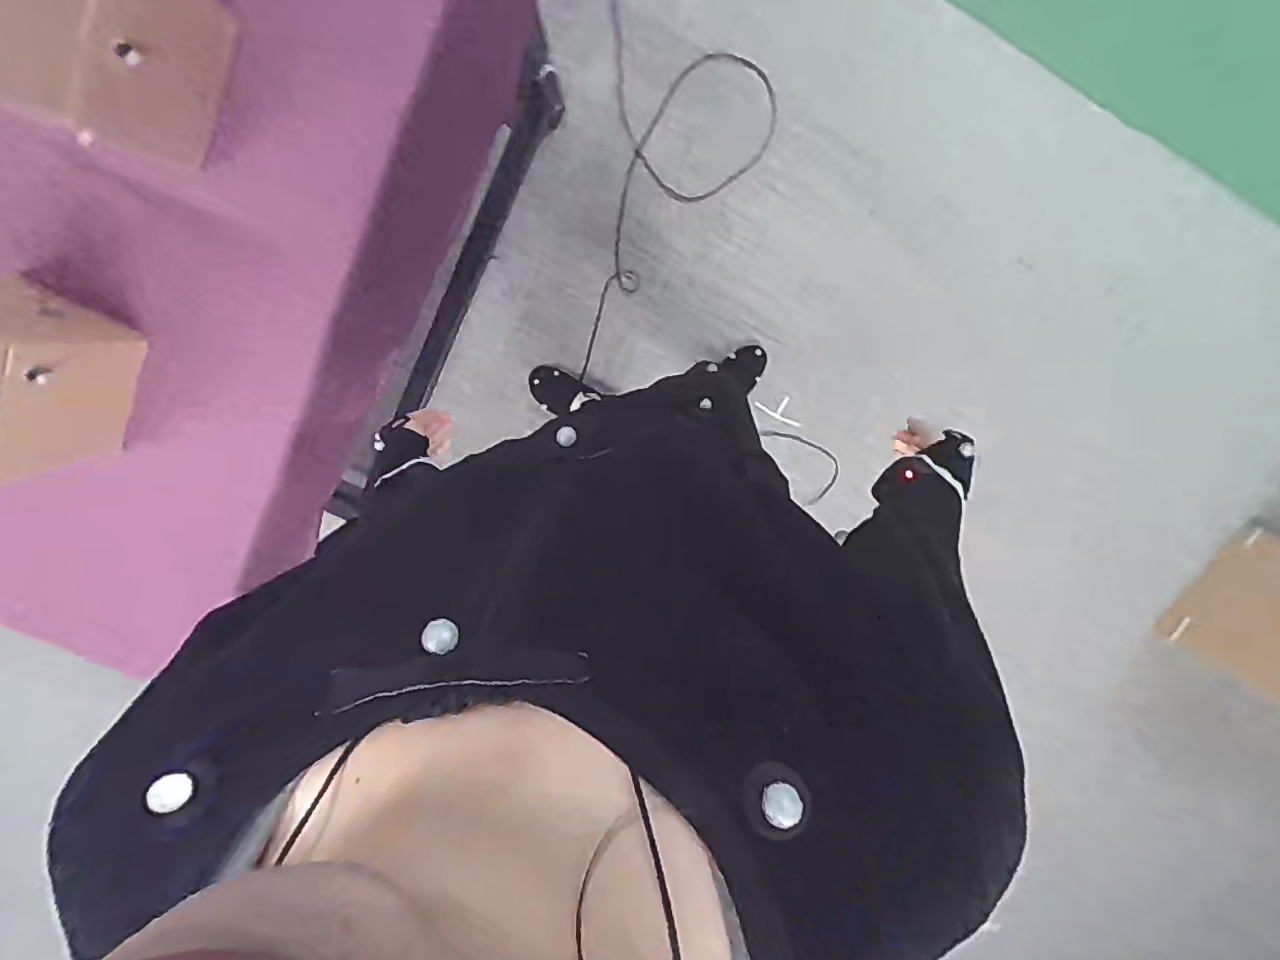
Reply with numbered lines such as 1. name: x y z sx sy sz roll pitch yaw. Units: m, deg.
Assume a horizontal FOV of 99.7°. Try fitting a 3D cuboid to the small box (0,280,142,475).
1. small box: -0.744 -0.122 0.631 0.168 0.176 0.179 24 103 -7
